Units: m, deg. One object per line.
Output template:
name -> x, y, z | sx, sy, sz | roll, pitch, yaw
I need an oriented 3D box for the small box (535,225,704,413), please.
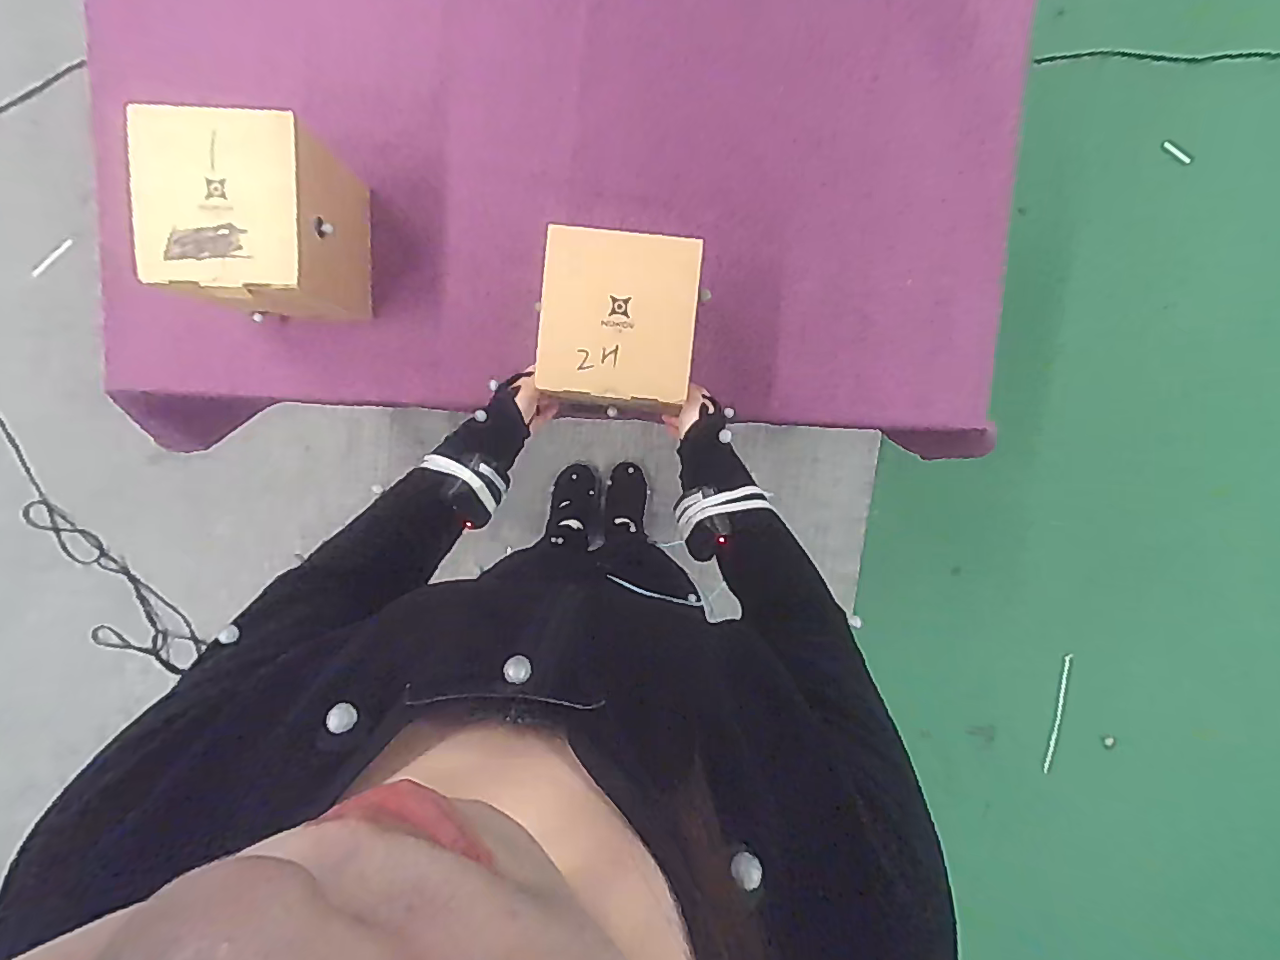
small box -> -0.023, -0.180, 0.653 | 0.168, 0.176, 0.179 | 6, 95, 0

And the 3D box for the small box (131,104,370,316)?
small box -> -0.434, -0.297, 0.633 | 0.168, 0.176, 0.179 | 2, 95, -2
